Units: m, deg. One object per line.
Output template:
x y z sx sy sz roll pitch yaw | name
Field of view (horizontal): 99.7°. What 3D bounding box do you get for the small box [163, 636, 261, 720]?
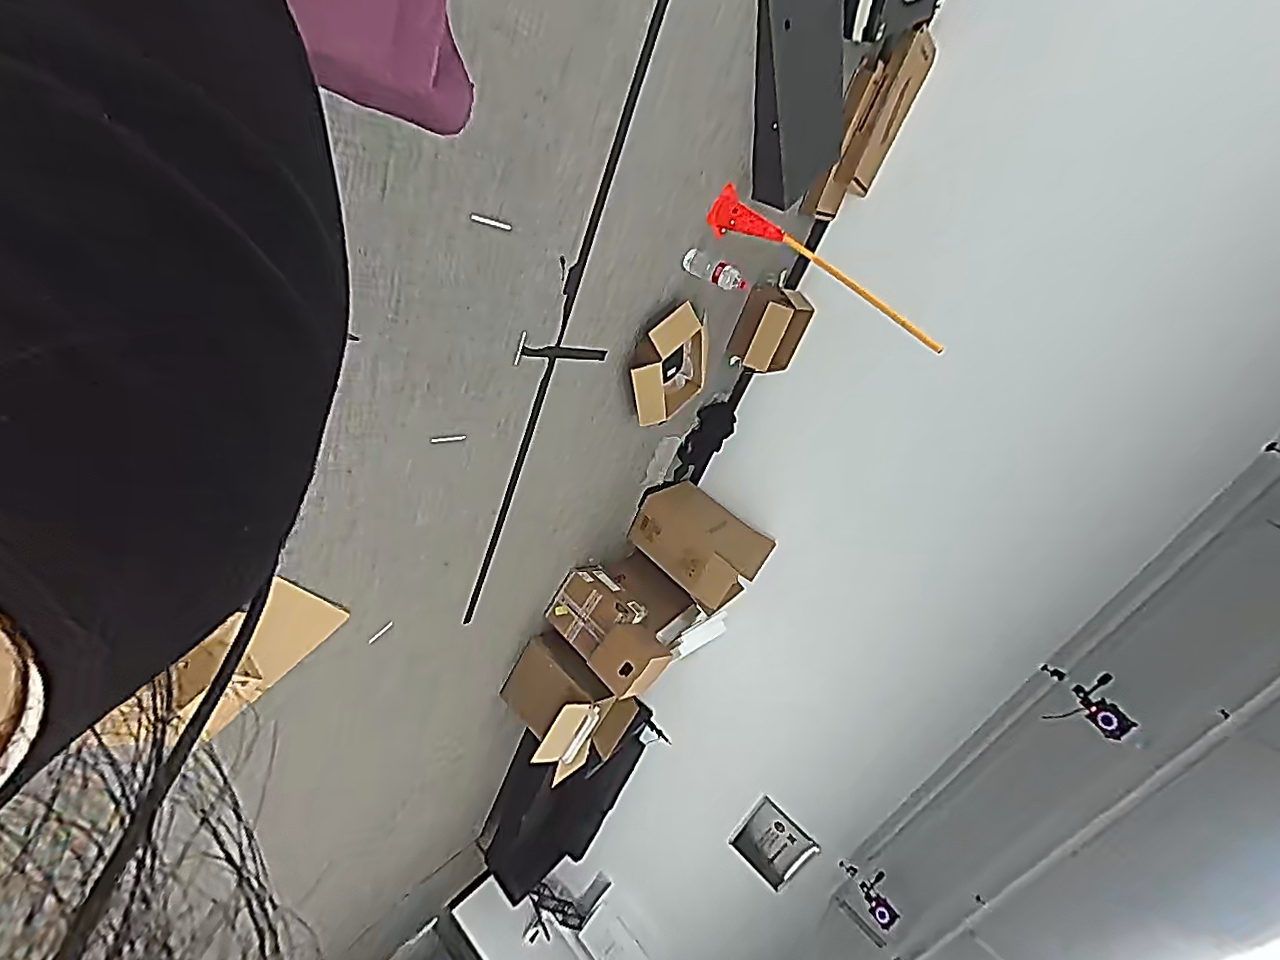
-1.392 0.642 1.753 0.179 0.176 0.168 -44 153 -14 | small box
